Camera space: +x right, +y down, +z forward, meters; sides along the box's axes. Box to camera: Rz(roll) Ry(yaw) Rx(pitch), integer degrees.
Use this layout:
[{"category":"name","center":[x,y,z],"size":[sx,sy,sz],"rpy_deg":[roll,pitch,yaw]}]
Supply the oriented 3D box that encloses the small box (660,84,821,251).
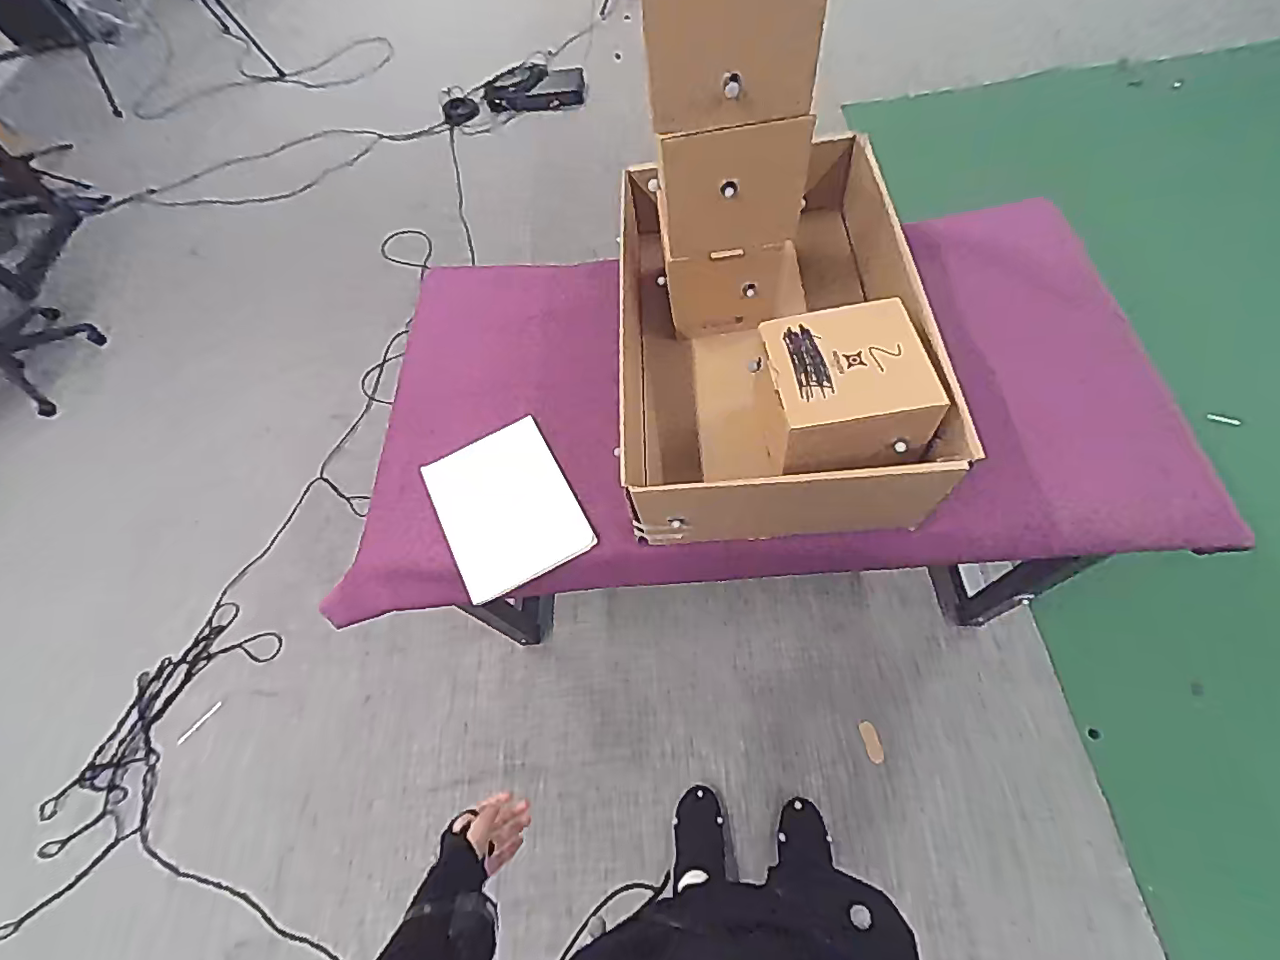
[{"category":"small box","center":[0.118,-0.428,0.702],"size":[0.179,0.176,0.168],"rpy_deg":[-7,63,5]}]

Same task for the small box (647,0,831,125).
[{"category":"small box","center":[0.095,-0.504,0.558],"size":[0.179,0.176,0.168],"rpy_deg":[-4,63,5]}]
